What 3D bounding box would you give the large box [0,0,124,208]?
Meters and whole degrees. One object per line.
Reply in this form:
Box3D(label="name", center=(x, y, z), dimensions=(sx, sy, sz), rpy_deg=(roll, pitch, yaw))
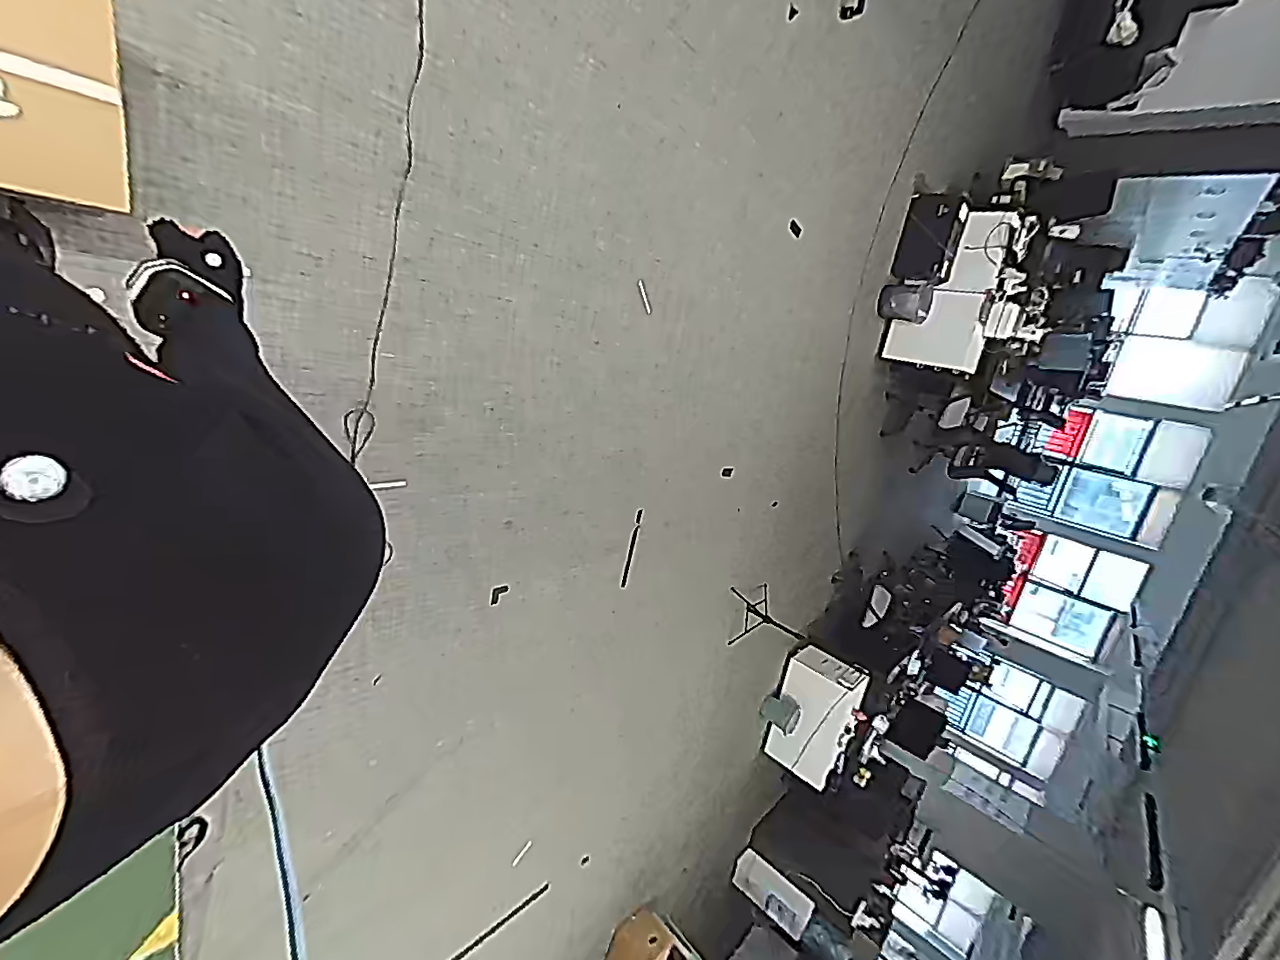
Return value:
Box3D(label="large box", center=(-1.015, -0.587, 0.734), dimensions=(0.408, 0.320, 0.320), rpy_deg=(-9, 115, -49))
